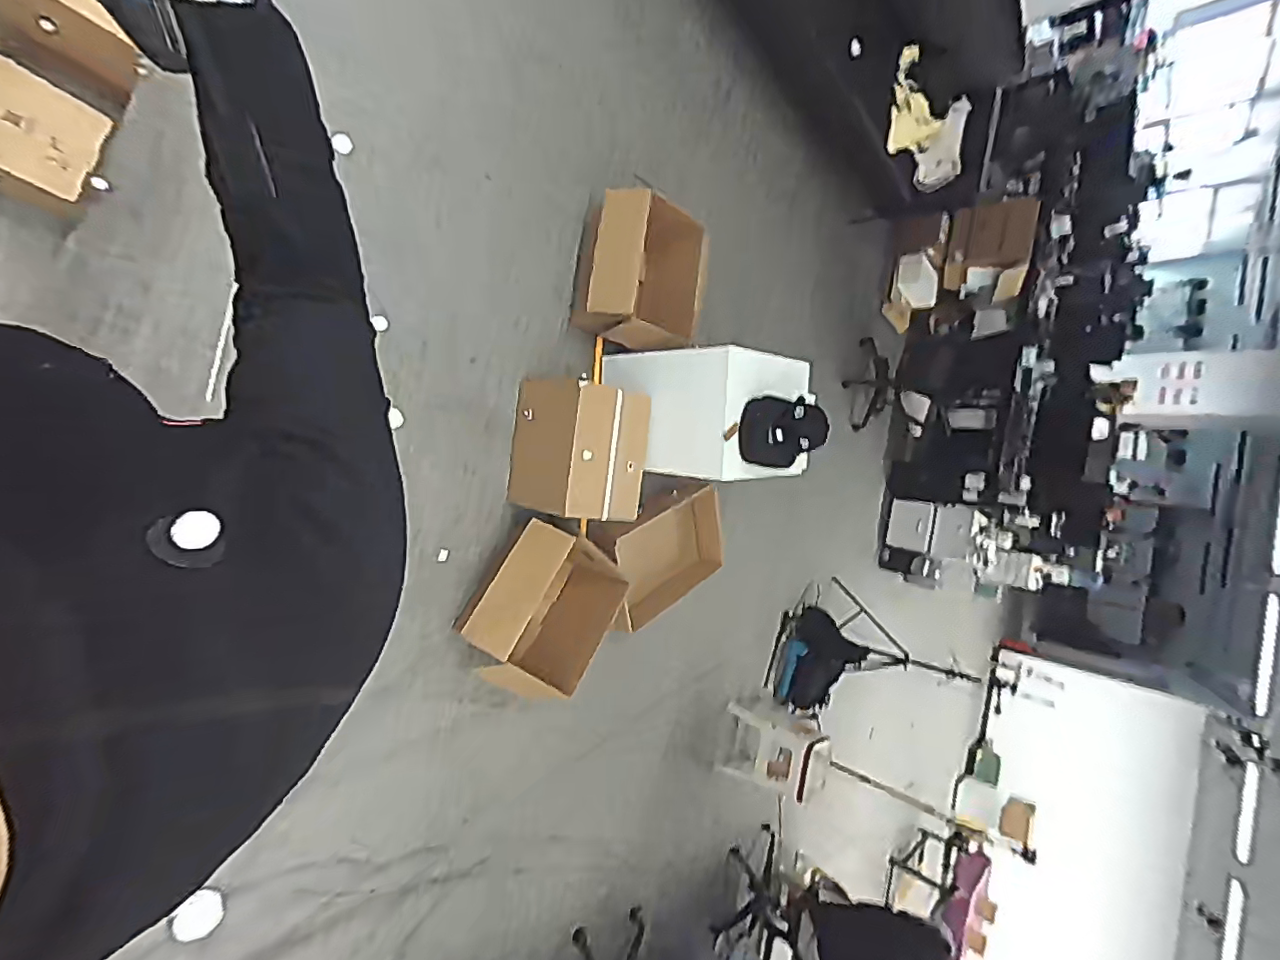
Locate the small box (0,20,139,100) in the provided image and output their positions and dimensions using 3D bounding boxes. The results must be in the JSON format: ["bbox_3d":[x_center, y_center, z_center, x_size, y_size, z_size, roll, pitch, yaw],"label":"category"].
[{"bbox_3d":[-0.986,-0.811,0.939,0.179,0.176,0.168,10,88,-48],"label":"small box"}]

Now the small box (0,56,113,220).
[{"bbox_3d":[-1.042,-0.572,0.911,0.179,0.176,0.168,26,77,-46],"label":"small box"}]

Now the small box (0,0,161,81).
[{"bbox_3d":[-0.868,-0.762,0.830,0.179,0.176,0.168,20,81,-47],"label":"small box"}]
